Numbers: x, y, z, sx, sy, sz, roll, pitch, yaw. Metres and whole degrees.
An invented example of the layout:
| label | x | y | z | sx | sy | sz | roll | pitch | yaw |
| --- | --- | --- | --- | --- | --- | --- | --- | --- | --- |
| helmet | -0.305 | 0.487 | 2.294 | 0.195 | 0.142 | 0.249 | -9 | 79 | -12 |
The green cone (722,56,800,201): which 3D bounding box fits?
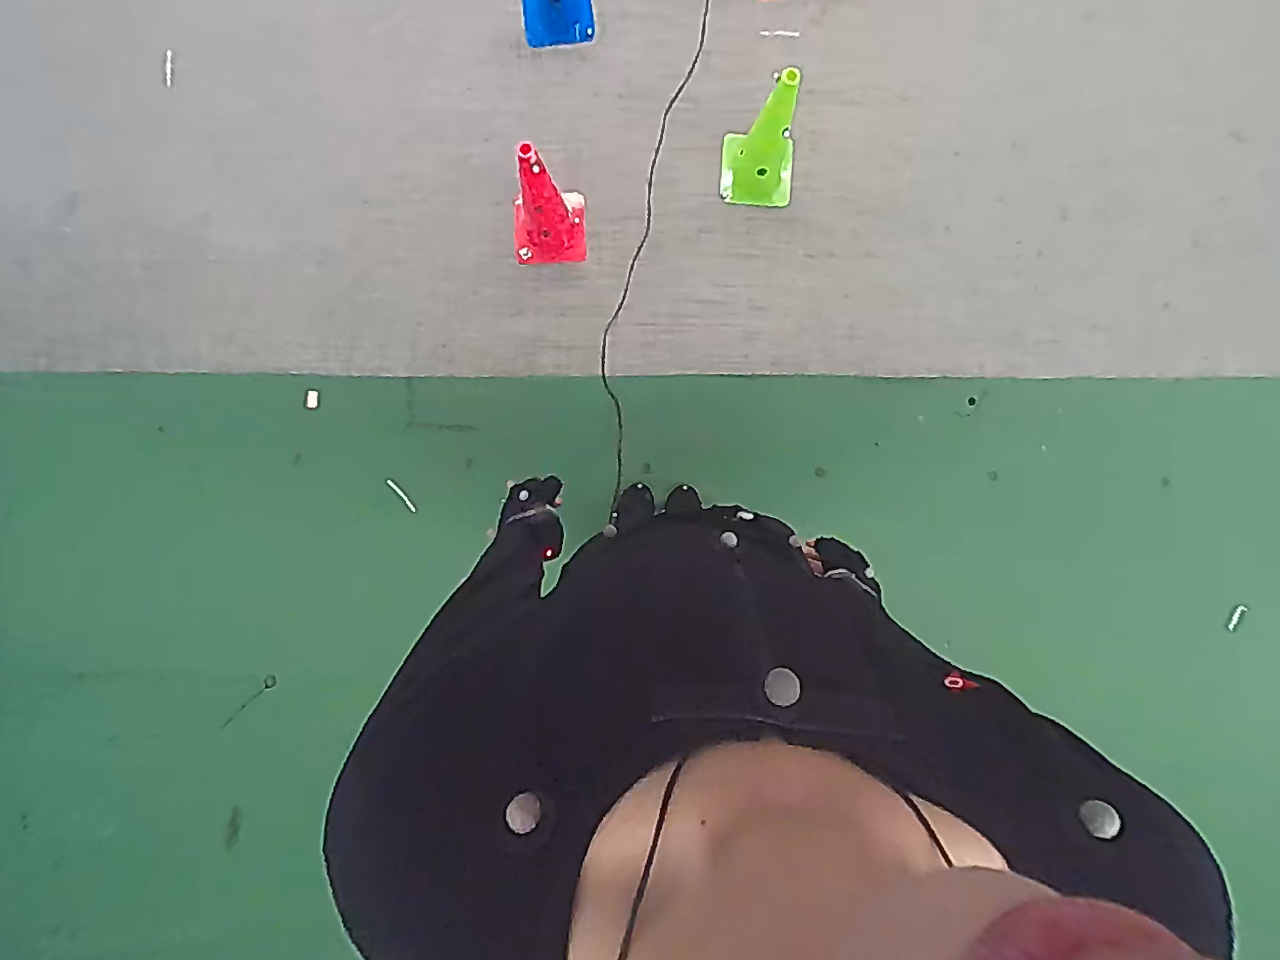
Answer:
| label | x | y | z | sx | sy | sz | roll | pitch | yaw |
| --- | --- | --- | --- | --- | --- | --- | --- | --- | --- |
| green cone | 0.335 | -0.899 | 1.363 | 0.200 | 0.368 | 0.202 | 2 | 88 | 0 |
